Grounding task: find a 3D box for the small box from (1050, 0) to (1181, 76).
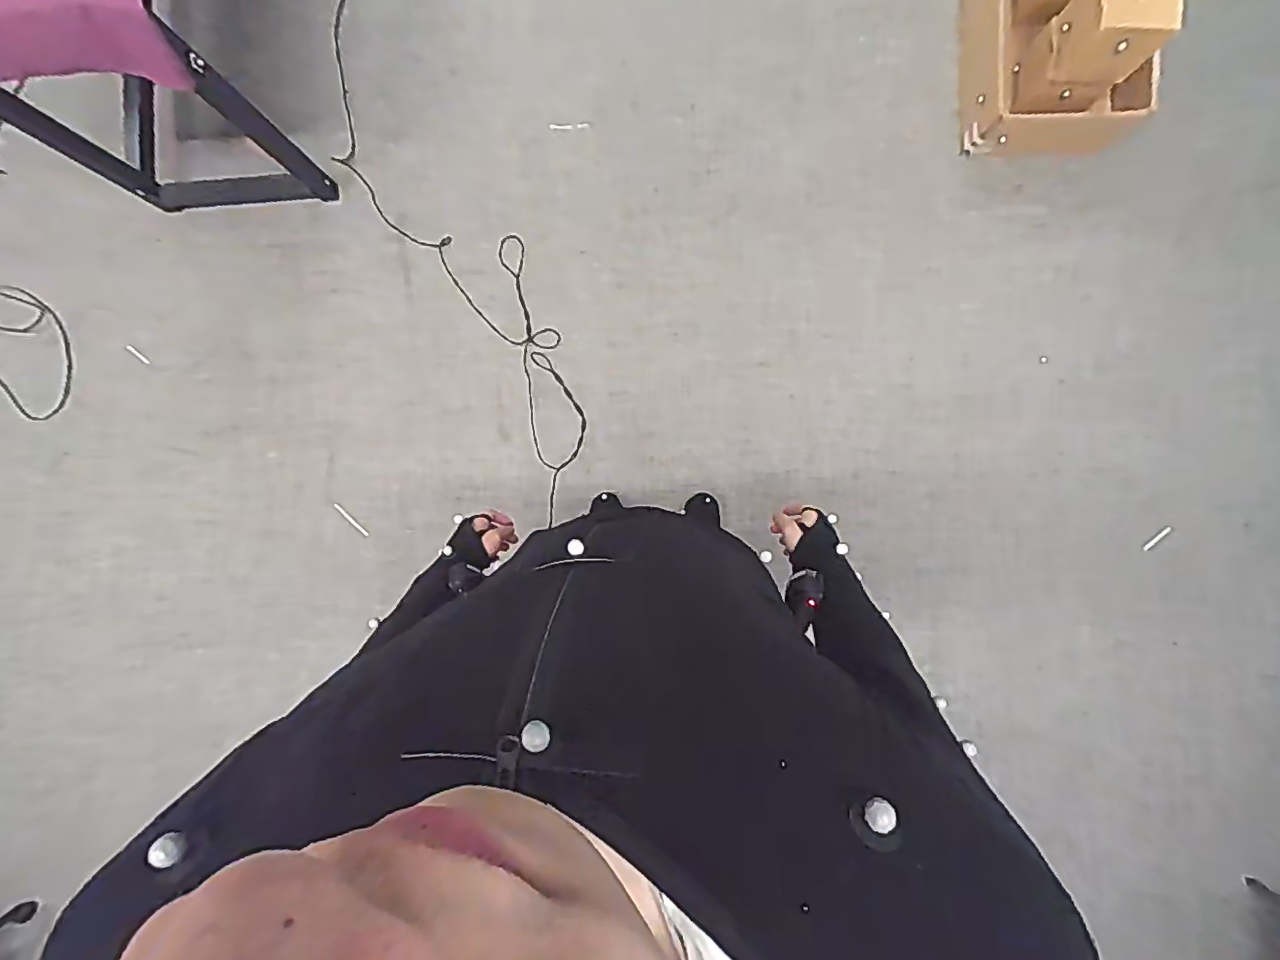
[{"bbox_3d":[1.142,-1.115,1.302,0.179,0.176,0.168,4,90,4],"label":"small box"}]
